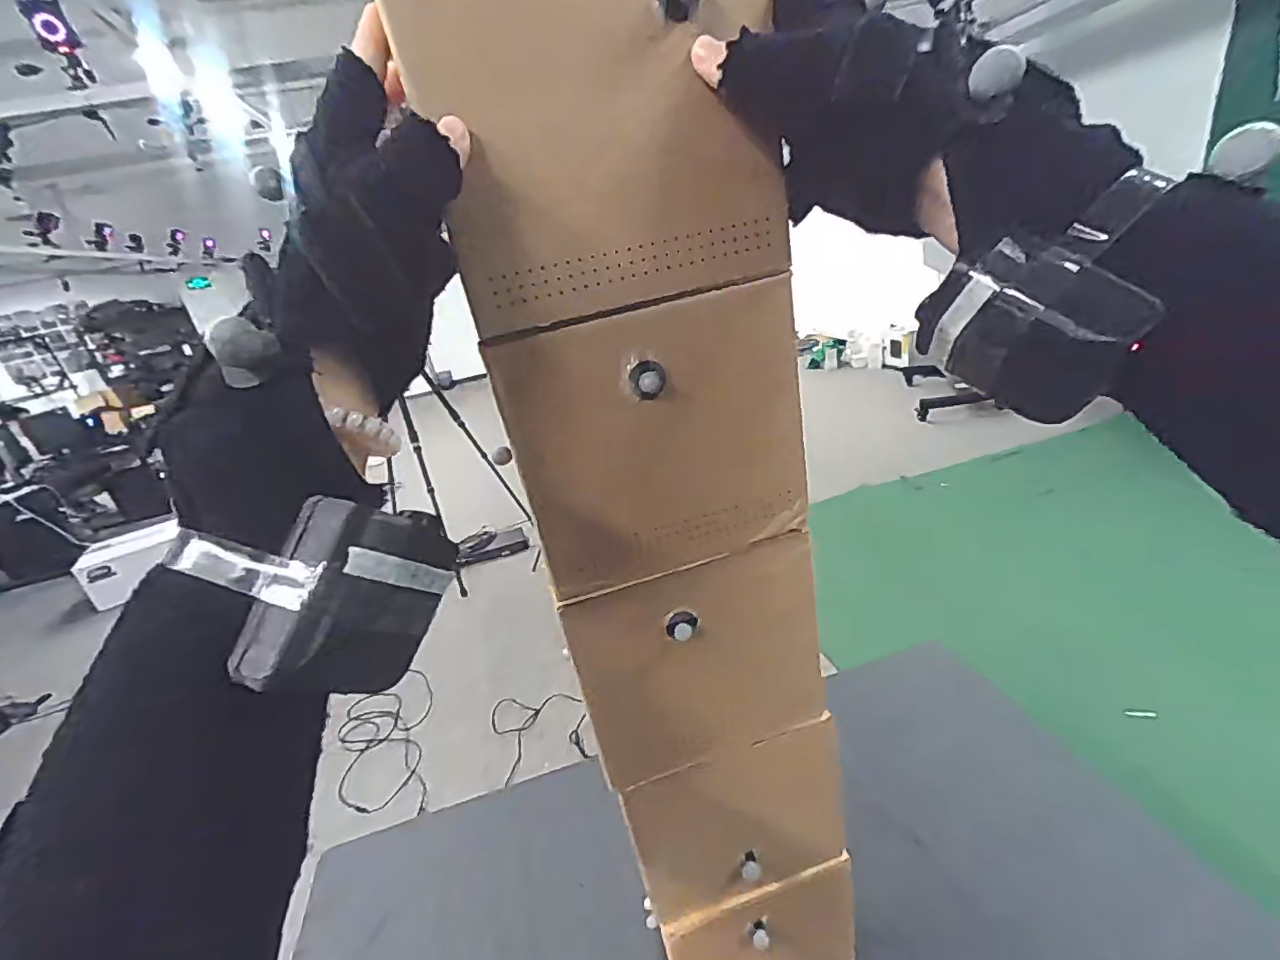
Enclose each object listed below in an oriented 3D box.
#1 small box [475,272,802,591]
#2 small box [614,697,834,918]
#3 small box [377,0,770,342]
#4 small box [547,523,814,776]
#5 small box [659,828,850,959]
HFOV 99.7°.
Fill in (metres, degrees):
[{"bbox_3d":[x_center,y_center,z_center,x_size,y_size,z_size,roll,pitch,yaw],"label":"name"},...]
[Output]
[{"bbox_3d":[-0.002,-0.043,0.392,0.179,0.176,0.168,-15,23,-7],"label":"small box"},{"bbox_3d":[0.064,0.256,0.511,0.179,0.176,0.168,-14,22,-8],"label":"small box"},{"bbox_3d":[-0.033,-0.191,0.329,0.179,0.176,0.168,-16,23,-9],"label":"small box"},{"bbox_3d":[0.026,0.106,0.453,0.179,0.176,0.168,-15,22,-9],"label":"small box"},{"bbox_3d":[0.098,0.406,0.566,0.179,0.176,0.168,-16,22,-10],"label":"small box"}]
